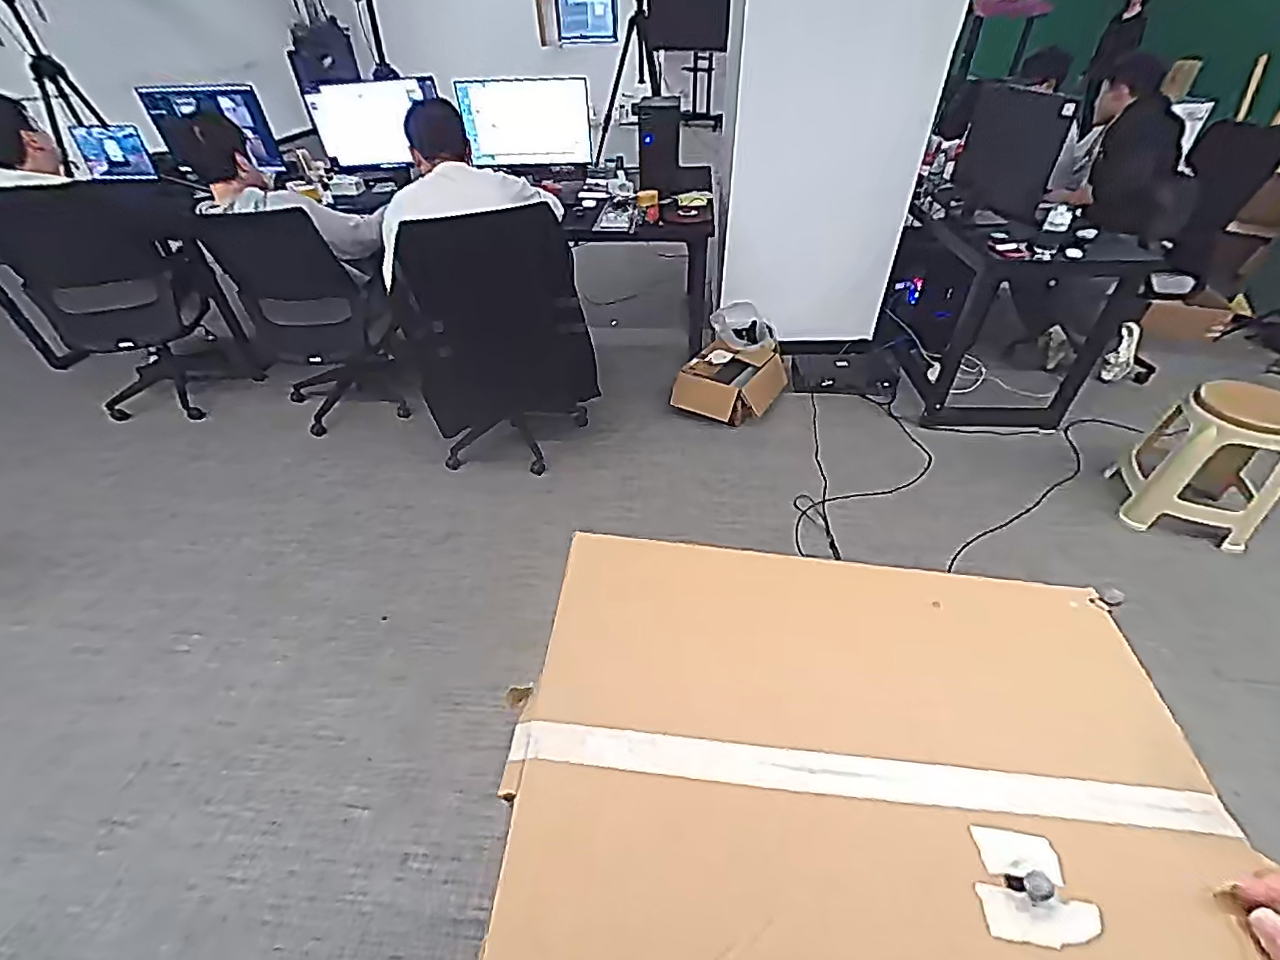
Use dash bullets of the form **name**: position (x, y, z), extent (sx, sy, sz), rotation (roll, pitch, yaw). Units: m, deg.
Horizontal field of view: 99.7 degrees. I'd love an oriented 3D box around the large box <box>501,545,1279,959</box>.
- **large box**: position (0.124, 0.282, 0.427), extent (0.408, 0.320, 0.320), rotation (7, 46, 0)
